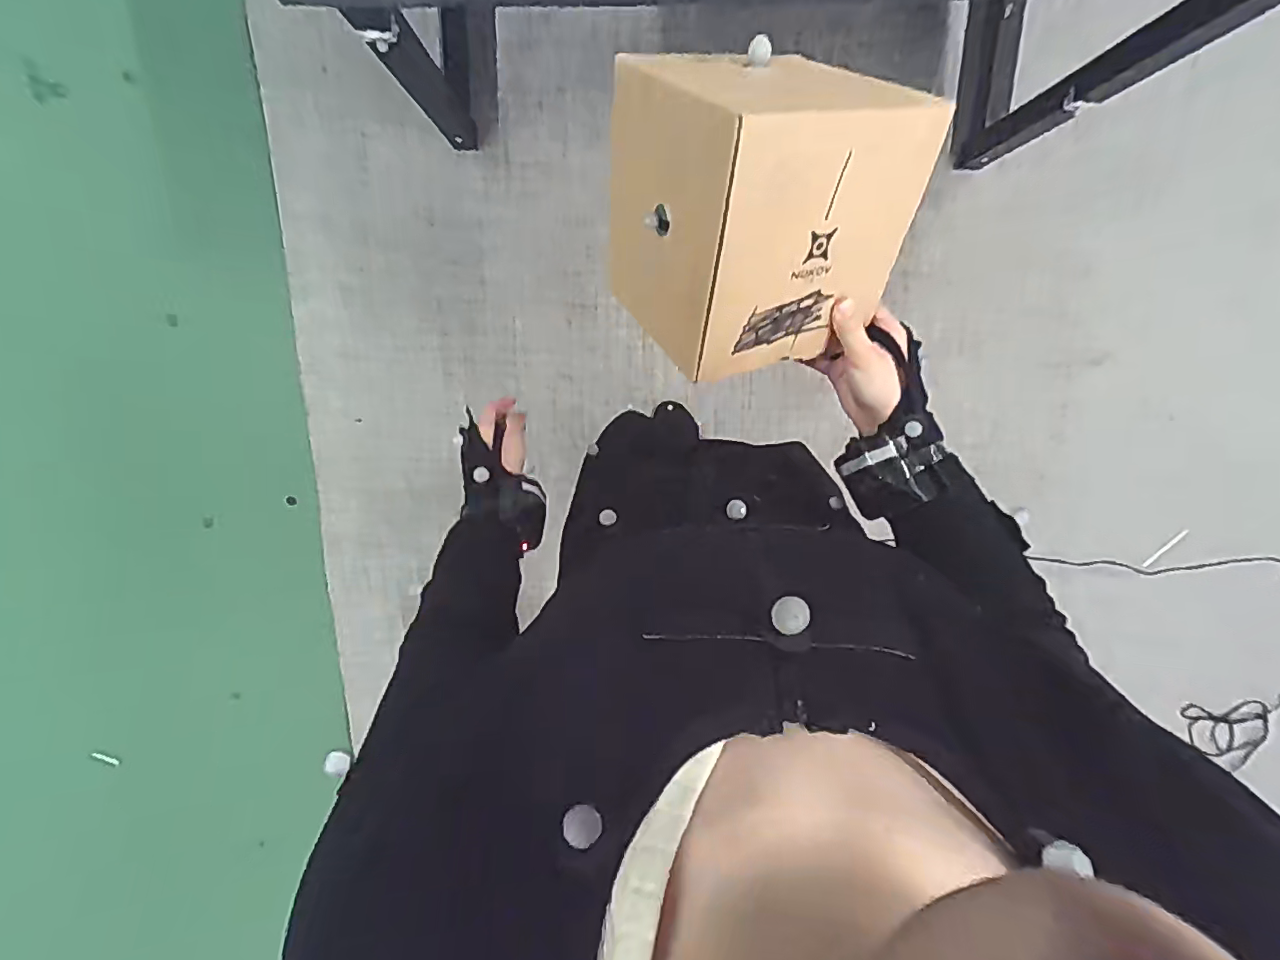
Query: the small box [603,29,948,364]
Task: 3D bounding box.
[{"bbox_3d":[0.079,-0.219,0.416,0.168,0.176,0.179,-16,139,-21],"label":"small box"}]
